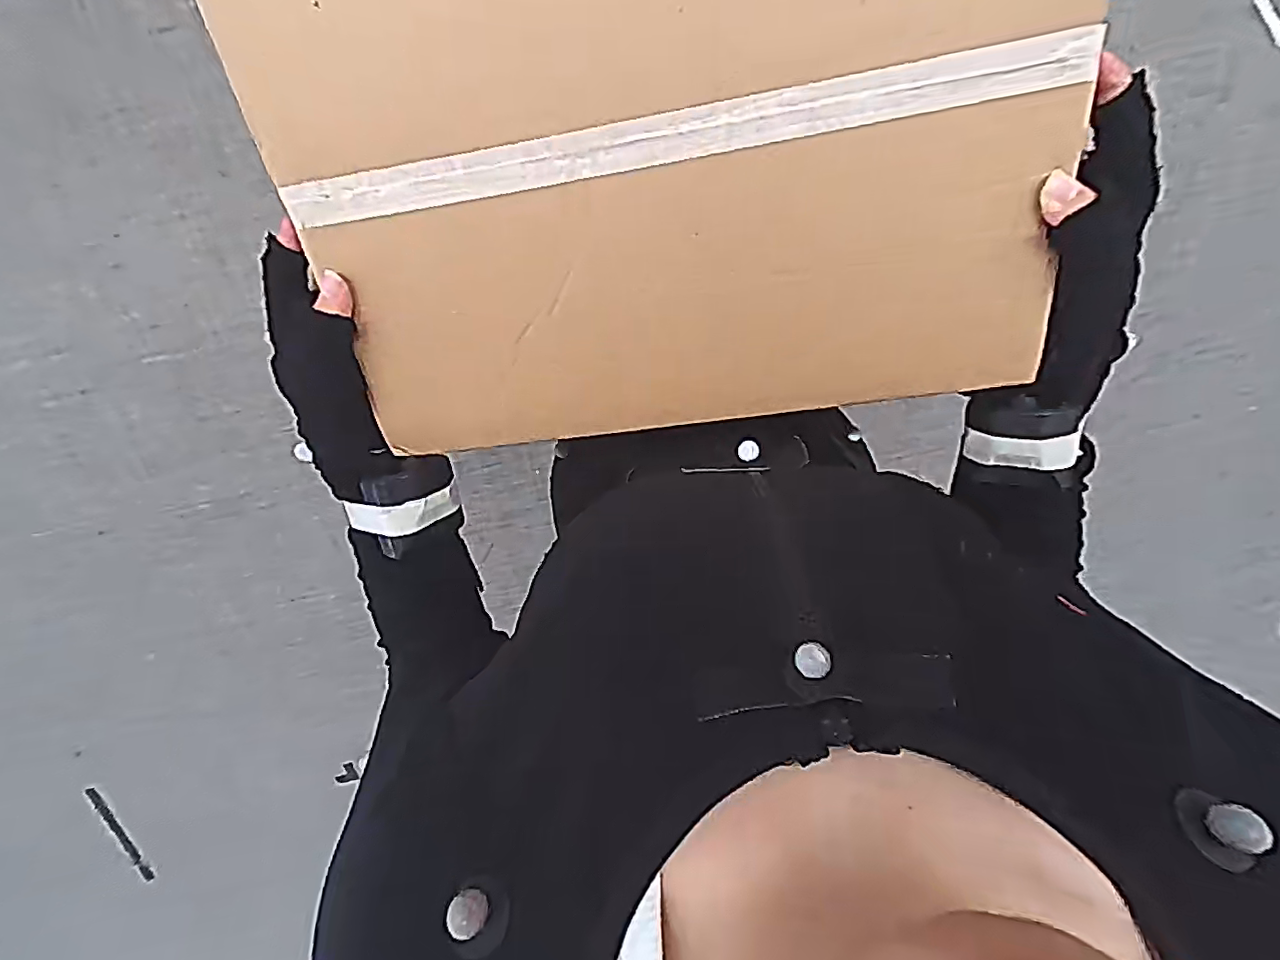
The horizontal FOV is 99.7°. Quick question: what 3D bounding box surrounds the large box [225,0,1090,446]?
[{"bbox_3d":[0.019,-0.252,0.407,0.408,0.320,0.320,-6,119,7],"label":"large box"}]
